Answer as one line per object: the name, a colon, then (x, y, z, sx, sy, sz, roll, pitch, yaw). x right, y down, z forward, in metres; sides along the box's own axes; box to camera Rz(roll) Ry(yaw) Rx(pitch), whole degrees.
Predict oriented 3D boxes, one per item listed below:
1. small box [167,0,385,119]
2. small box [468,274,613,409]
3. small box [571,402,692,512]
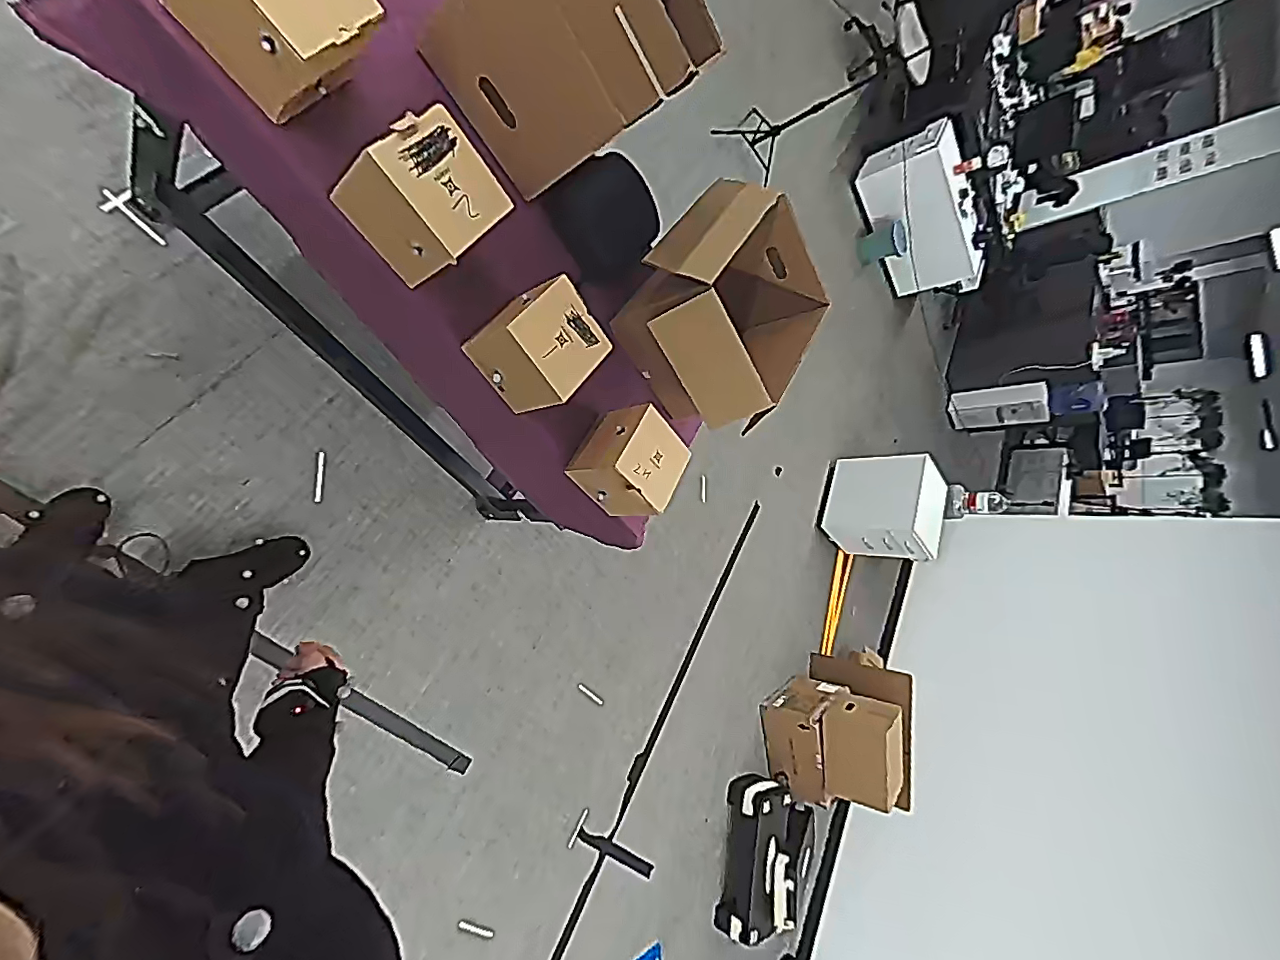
small box: (-0.503, -0.655, 0.746, 0.179, 0.176, 0.168, 48, 57, -34)
small box: (-0.191, -0.258, 1.033, 0.168, 0.176, 0.179, 53, 55, -29)
small box: (-0.021, -0.046, 1.189, 0.168, 0.176, 0.179, 47, 58, -31)
